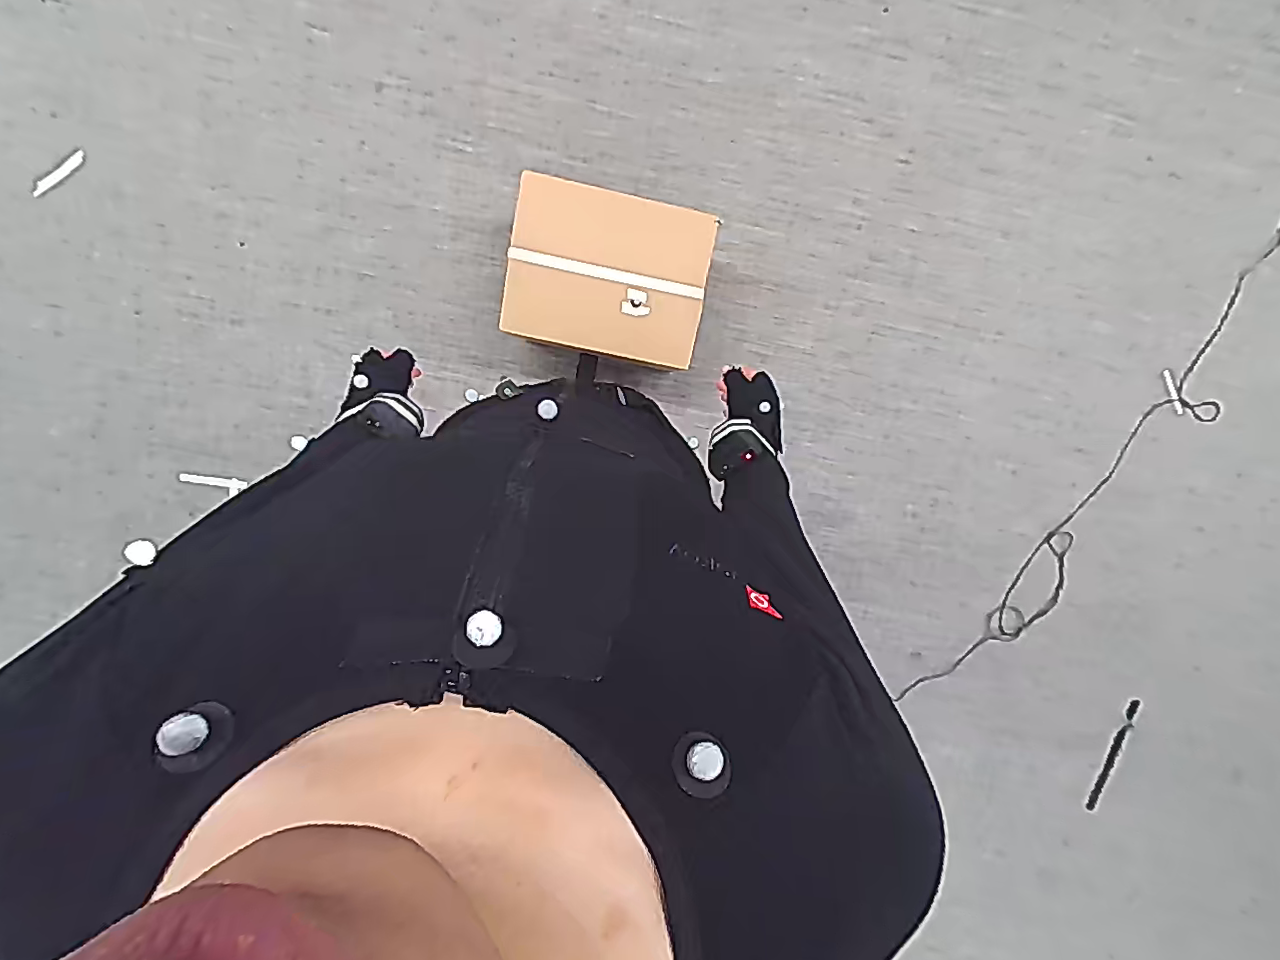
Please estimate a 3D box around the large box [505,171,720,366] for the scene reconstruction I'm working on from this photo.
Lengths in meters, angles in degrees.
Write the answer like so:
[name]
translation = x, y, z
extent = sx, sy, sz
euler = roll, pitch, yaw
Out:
[large box]
translation = -0.069, -0.455, 1.246
extent = 0.408, 0.320, 0.320
euler = 10, 101, -6
